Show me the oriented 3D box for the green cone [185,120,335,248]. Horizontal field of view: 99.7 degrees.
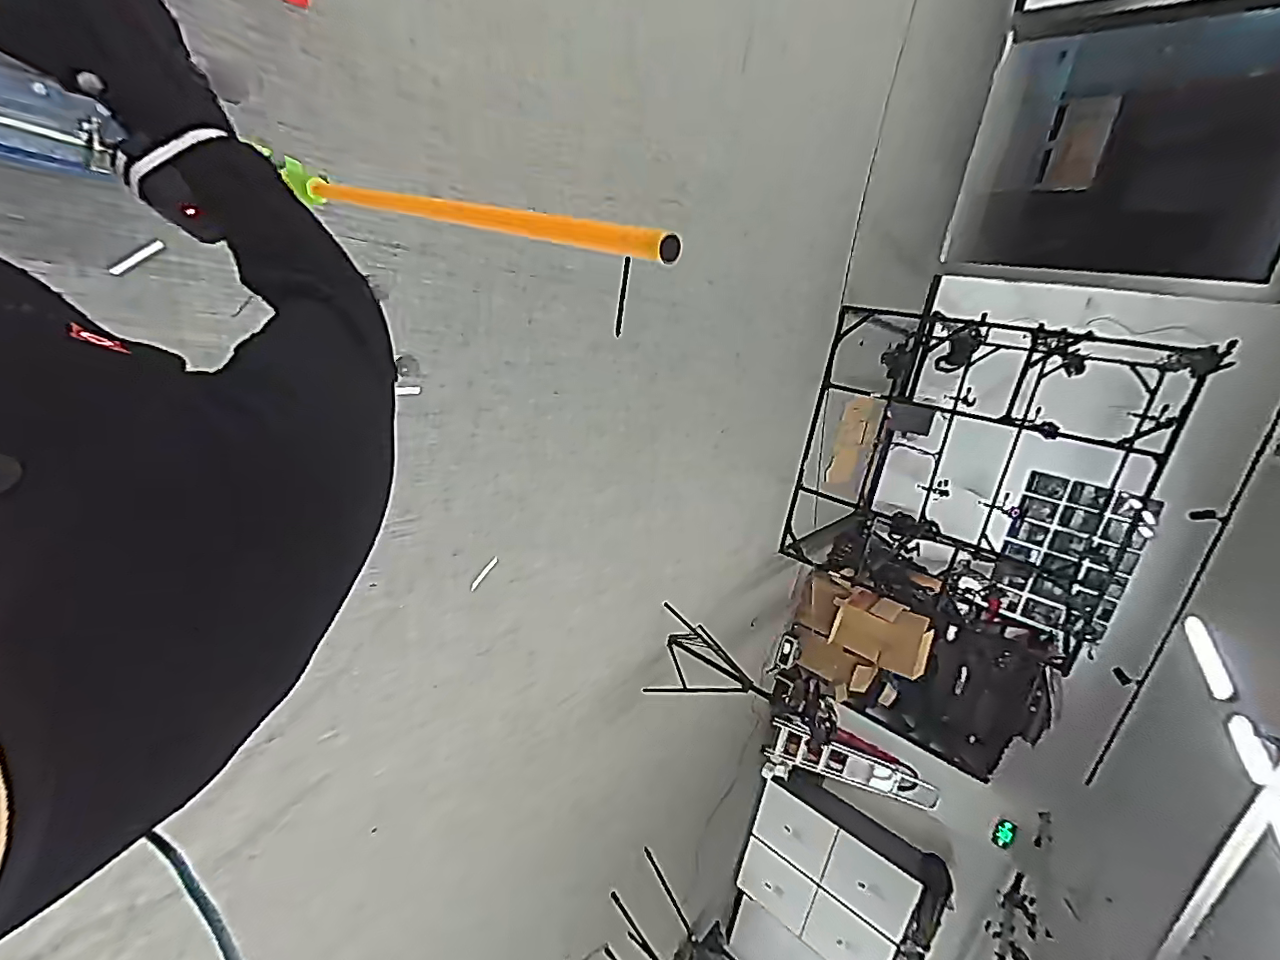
[{"bbox_3d":[-0.709,-0.570,1.059,0.202,0.368,0.200,-6,113,-54],"label":"green cone"}]
